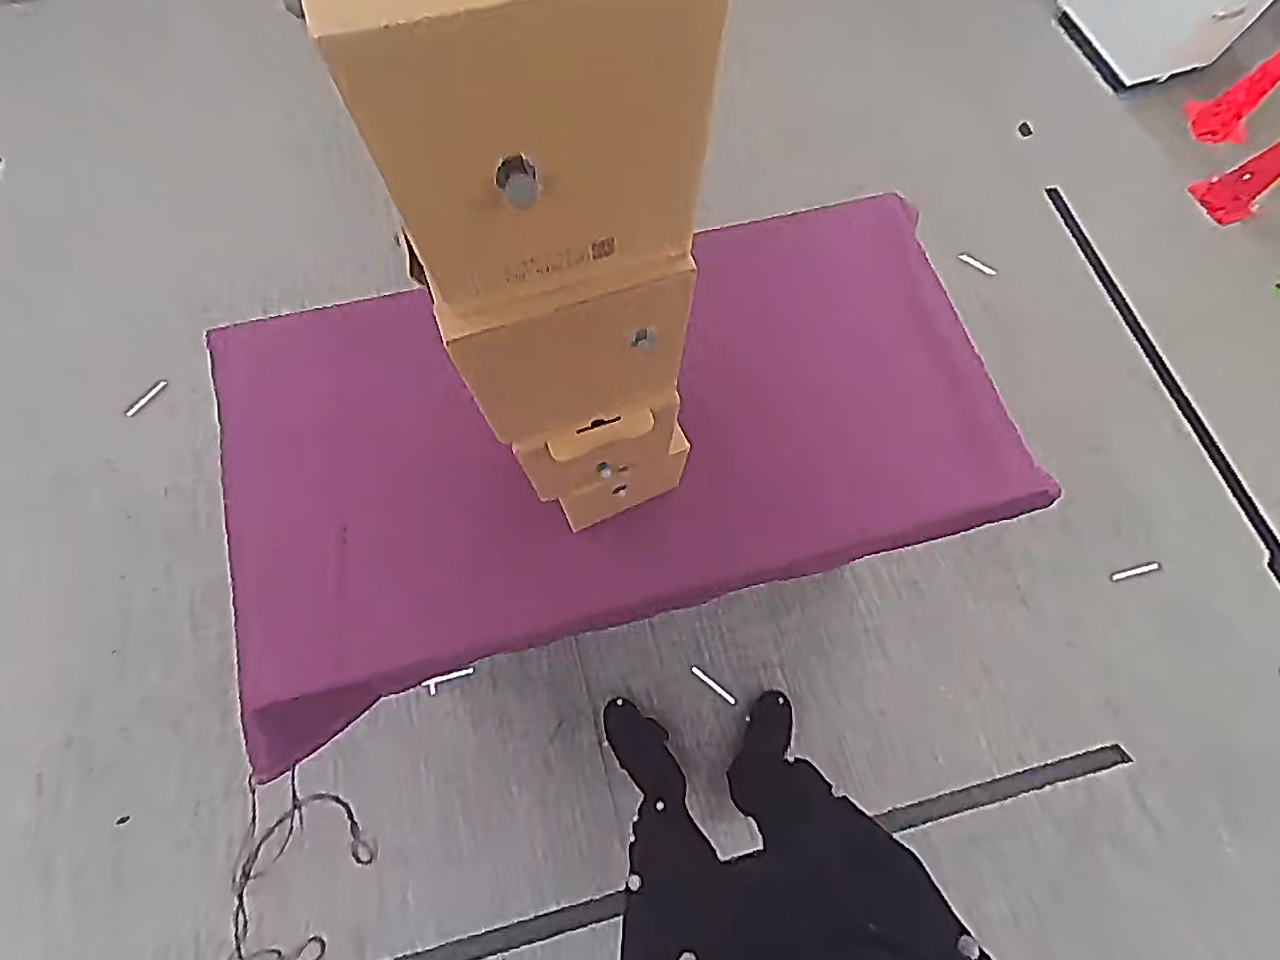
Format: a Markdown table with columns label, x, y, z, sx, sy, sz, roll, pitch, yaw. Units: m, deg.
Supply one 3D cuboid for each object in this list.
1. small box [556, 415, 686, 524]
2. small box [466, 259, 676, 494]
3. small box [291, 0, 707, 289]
| label | x | y | z | sx | sy | sz | roll | pitch | yaw |
| --- | --- | --- | --- | --- | --- | --- | --- | --- | --- |
| small box | -0.054 | -0.056 | 0.756 | 0.179 | 0.176 | 0.168 | -24 | 75 | -10 |
| small box | -0.072 | -0.106 | 0.599 | 0.168 | 0.176 | 0.179 | -19 | 74 | -7 |
| small box | -0.070 | -0.230 | 0.296 | 0.168 | 0.176 | 0.179 | -18 | 73 | -7 |
